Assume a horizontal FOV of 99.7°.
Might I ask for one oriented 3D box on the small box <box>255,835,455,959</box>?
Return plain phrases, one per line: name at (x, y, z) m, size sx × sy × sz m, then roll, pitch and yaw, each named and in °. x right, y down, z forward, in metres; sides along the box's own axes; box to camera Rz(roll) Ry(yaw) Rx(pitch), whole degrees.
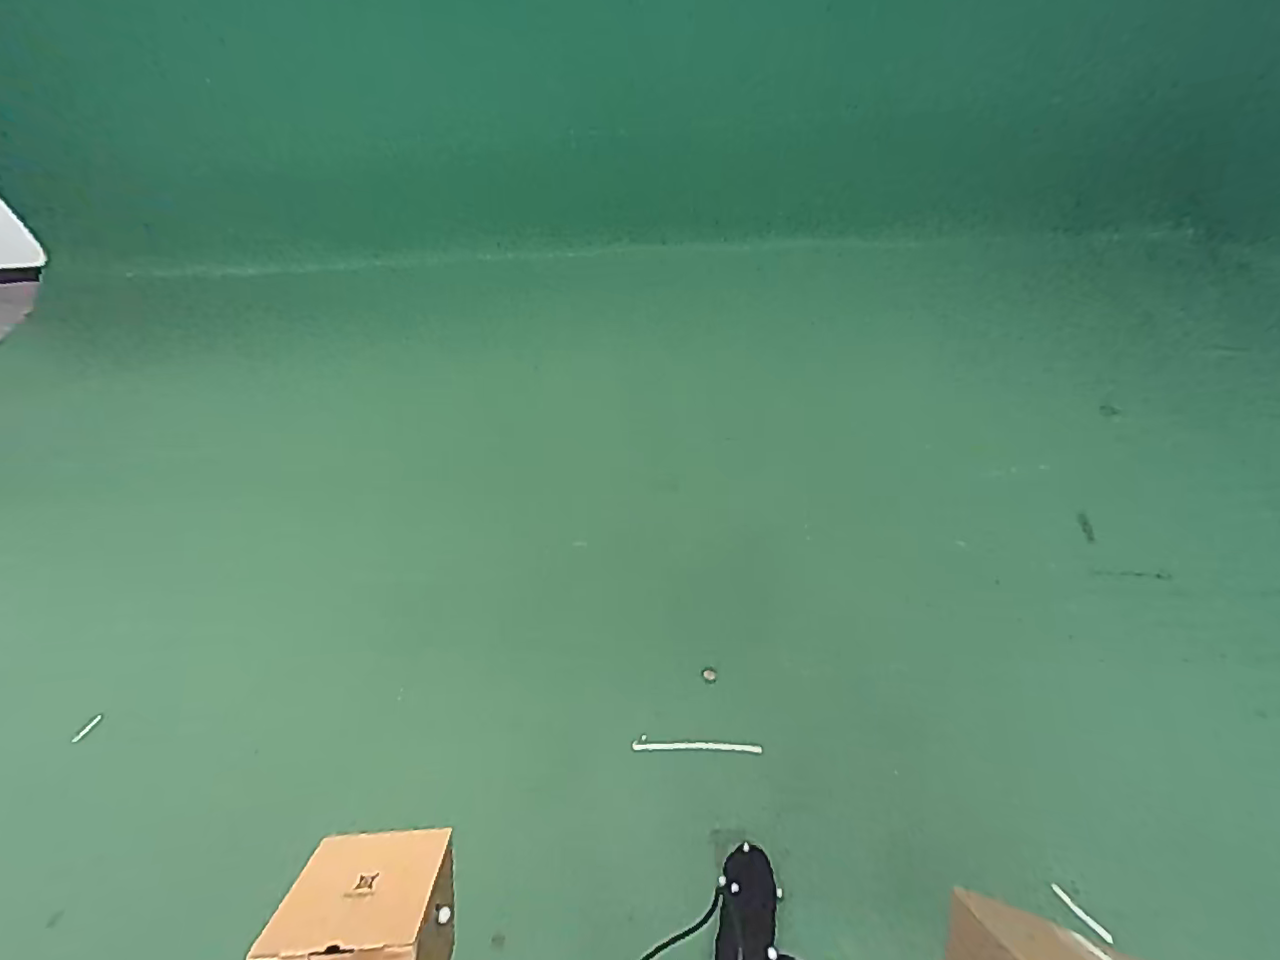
small box at (-0.323, 0.567, 0.644) m, size 0.168 × 0.179 × 0.176 m, roll -1°, pitch 93°, yaw -7°
